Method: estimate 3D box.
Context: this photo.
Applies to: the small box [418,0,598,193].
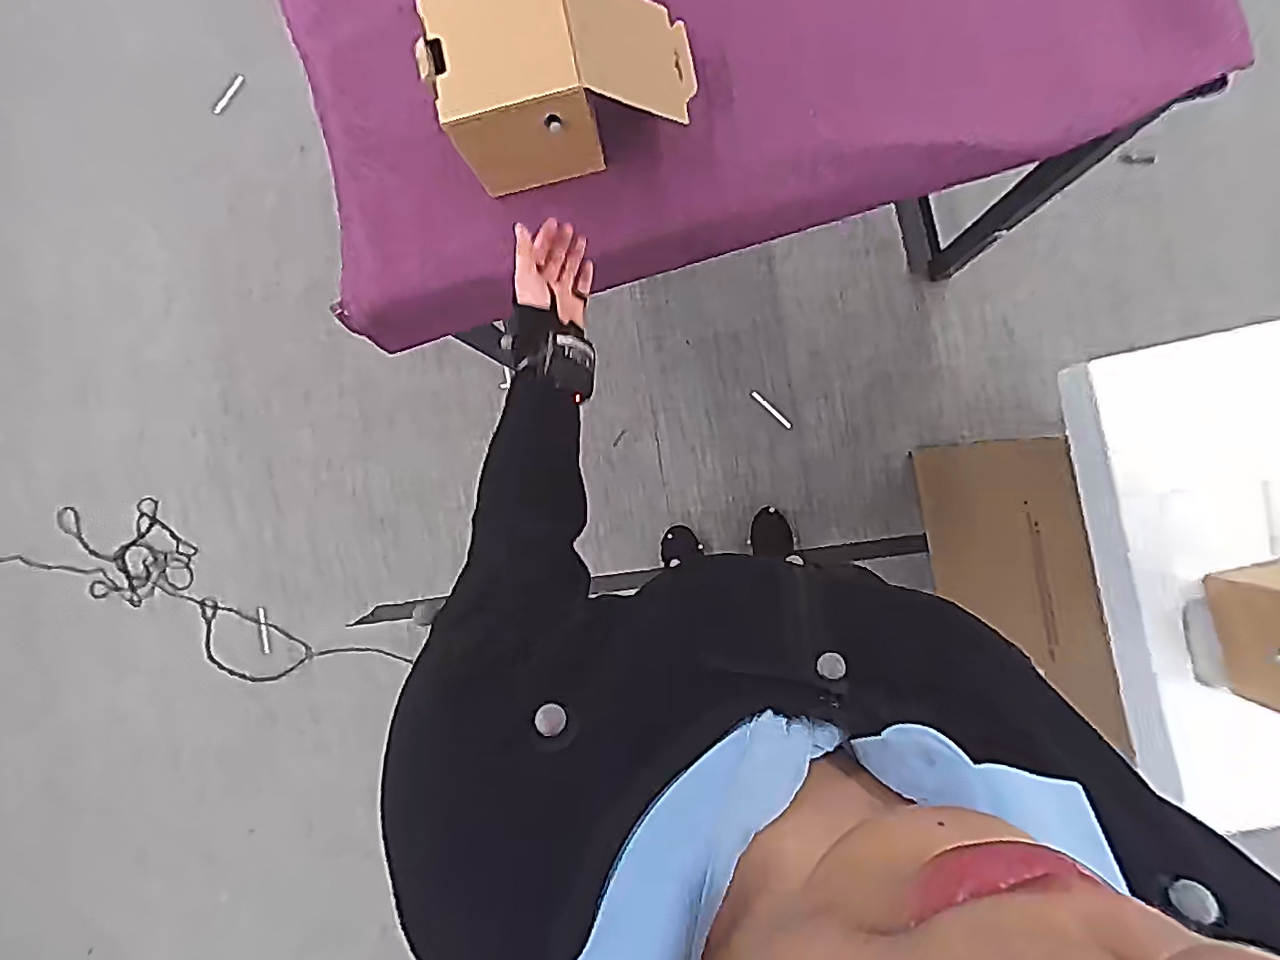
[{"bbox_3d":[-0.158,-0.513,0.710,0.179,0.176,0.168,-11,88,6],"label":"small box"}]
